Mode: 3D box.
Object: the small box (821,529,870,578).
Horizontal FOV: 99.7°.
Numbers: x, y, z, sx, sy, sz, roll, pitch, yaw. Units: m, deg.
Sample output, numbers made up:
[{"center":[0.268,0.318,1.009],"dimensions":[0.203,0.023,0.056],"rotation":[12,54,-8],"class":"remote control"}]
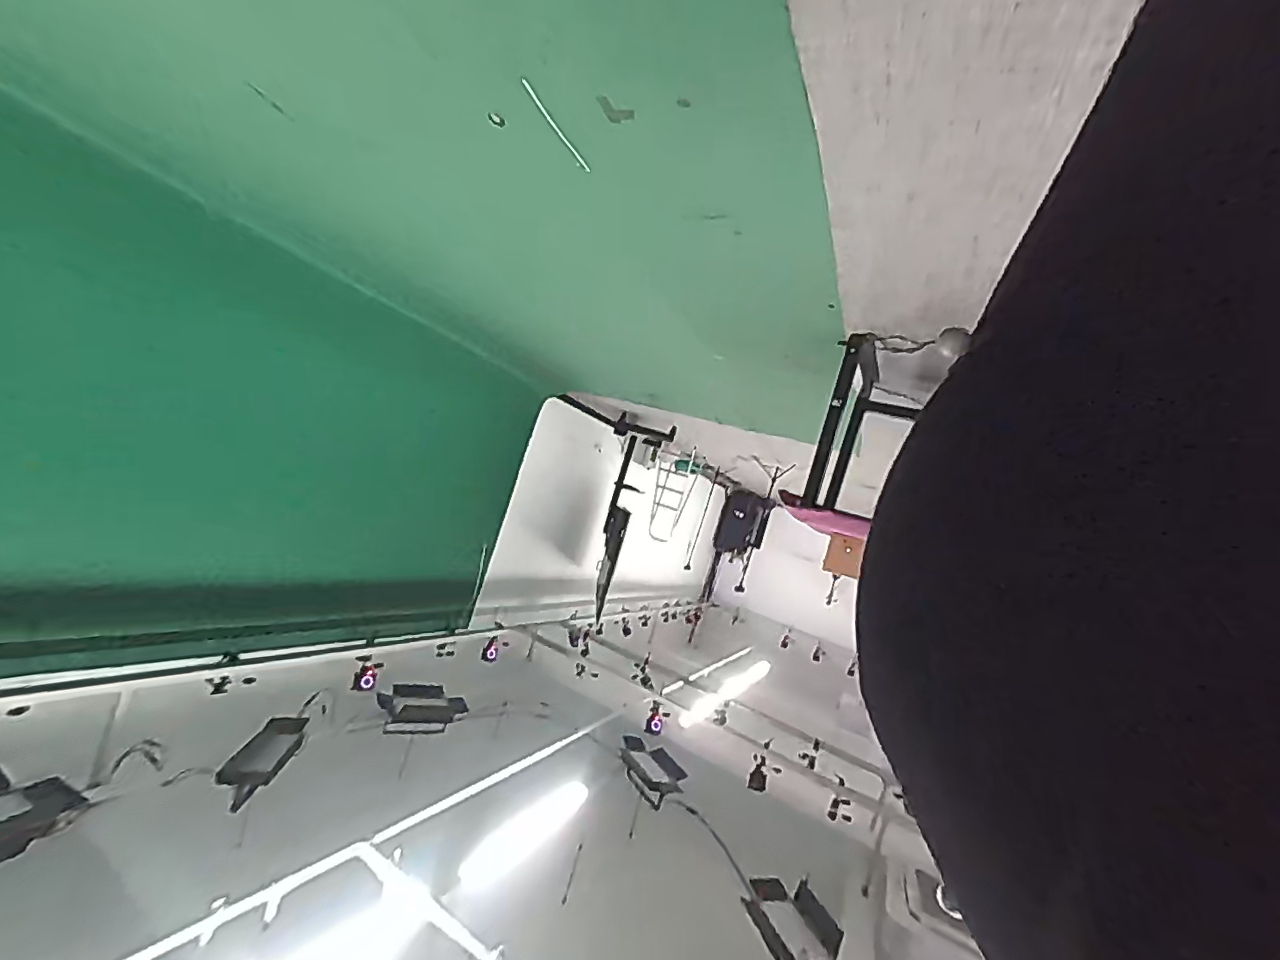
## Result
[{"center":[0.889,0.317,2.331],"dimensions":[0.168,0.176,0.179],"rotation":[14,176,24],"class":"small box"}]
